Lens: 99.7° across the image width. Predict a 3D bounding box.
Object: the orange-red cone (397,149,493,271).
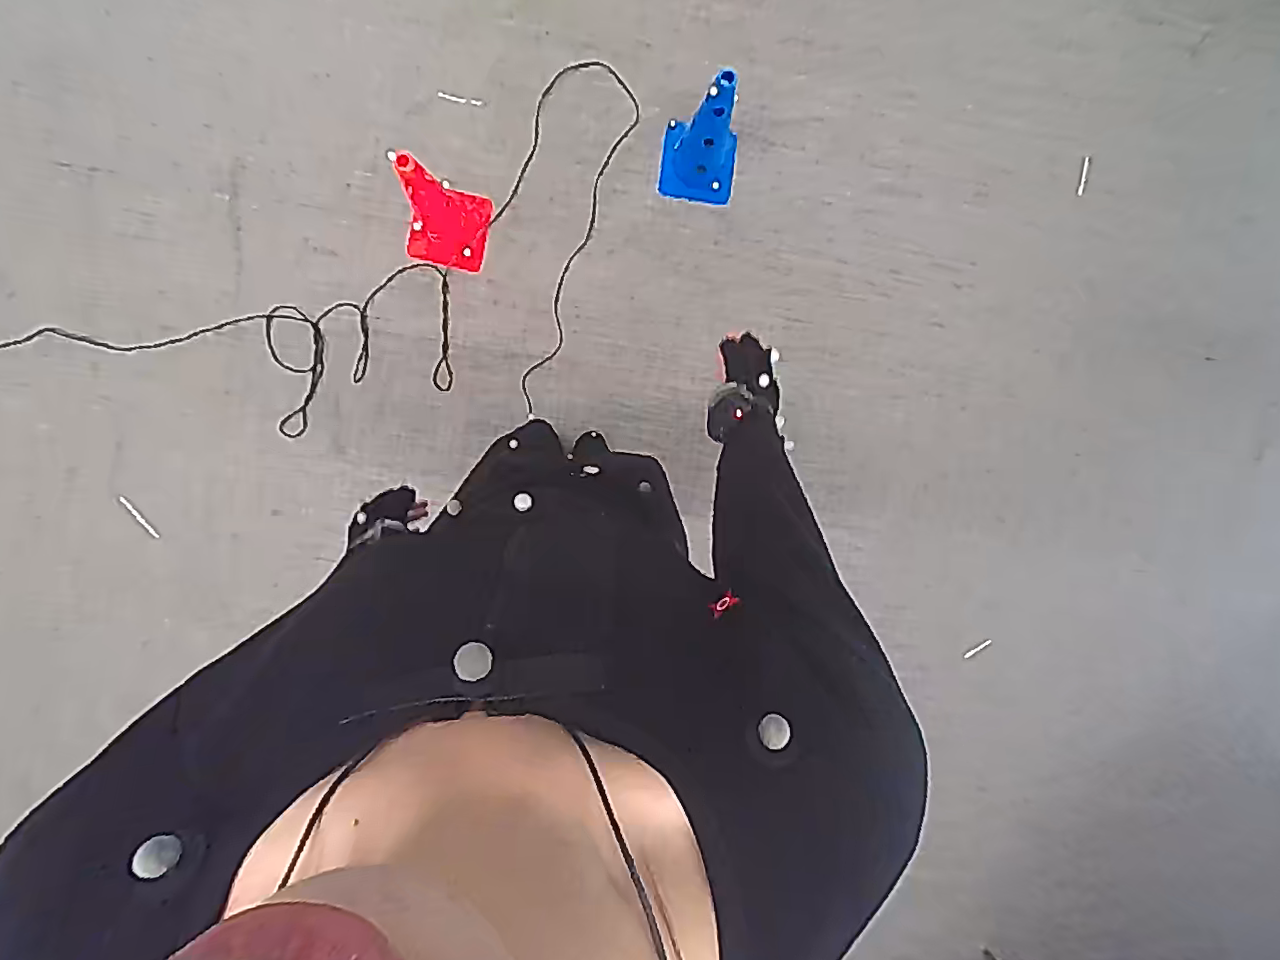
[{"bbox_3d":[-0.486,-0.658,1.255,0.198,0.360,0.199,12,92,-6],"label":"orange-red cone"}]
